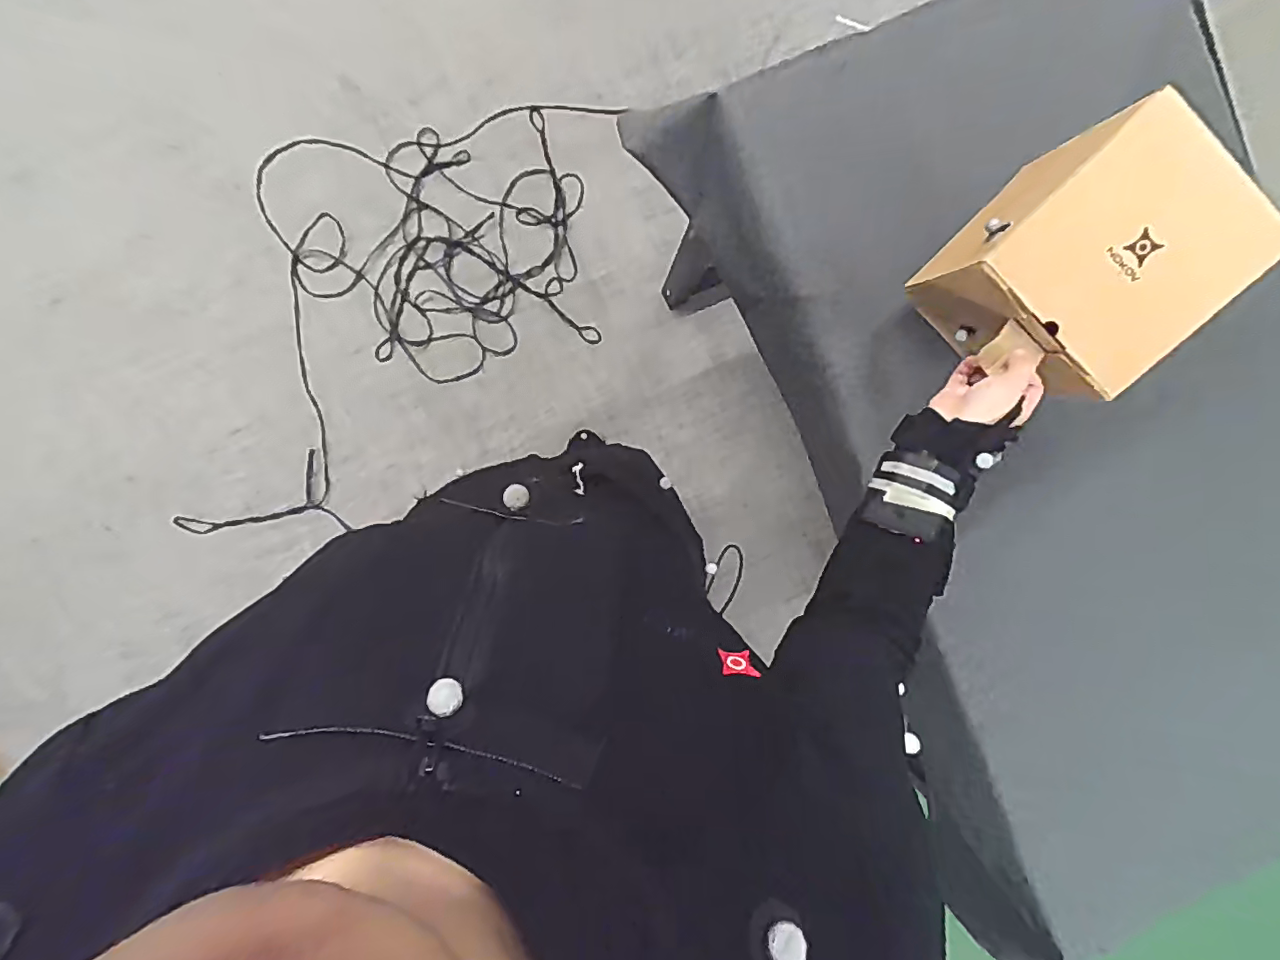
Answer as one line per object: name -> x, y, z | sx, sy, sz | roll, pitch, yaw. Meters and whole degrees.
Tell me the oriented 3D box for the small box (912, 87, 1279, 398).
small box -> 0.402, -0.201, 0.509 | 0.168, 0.176, 0.179 | 43, 102, -6
